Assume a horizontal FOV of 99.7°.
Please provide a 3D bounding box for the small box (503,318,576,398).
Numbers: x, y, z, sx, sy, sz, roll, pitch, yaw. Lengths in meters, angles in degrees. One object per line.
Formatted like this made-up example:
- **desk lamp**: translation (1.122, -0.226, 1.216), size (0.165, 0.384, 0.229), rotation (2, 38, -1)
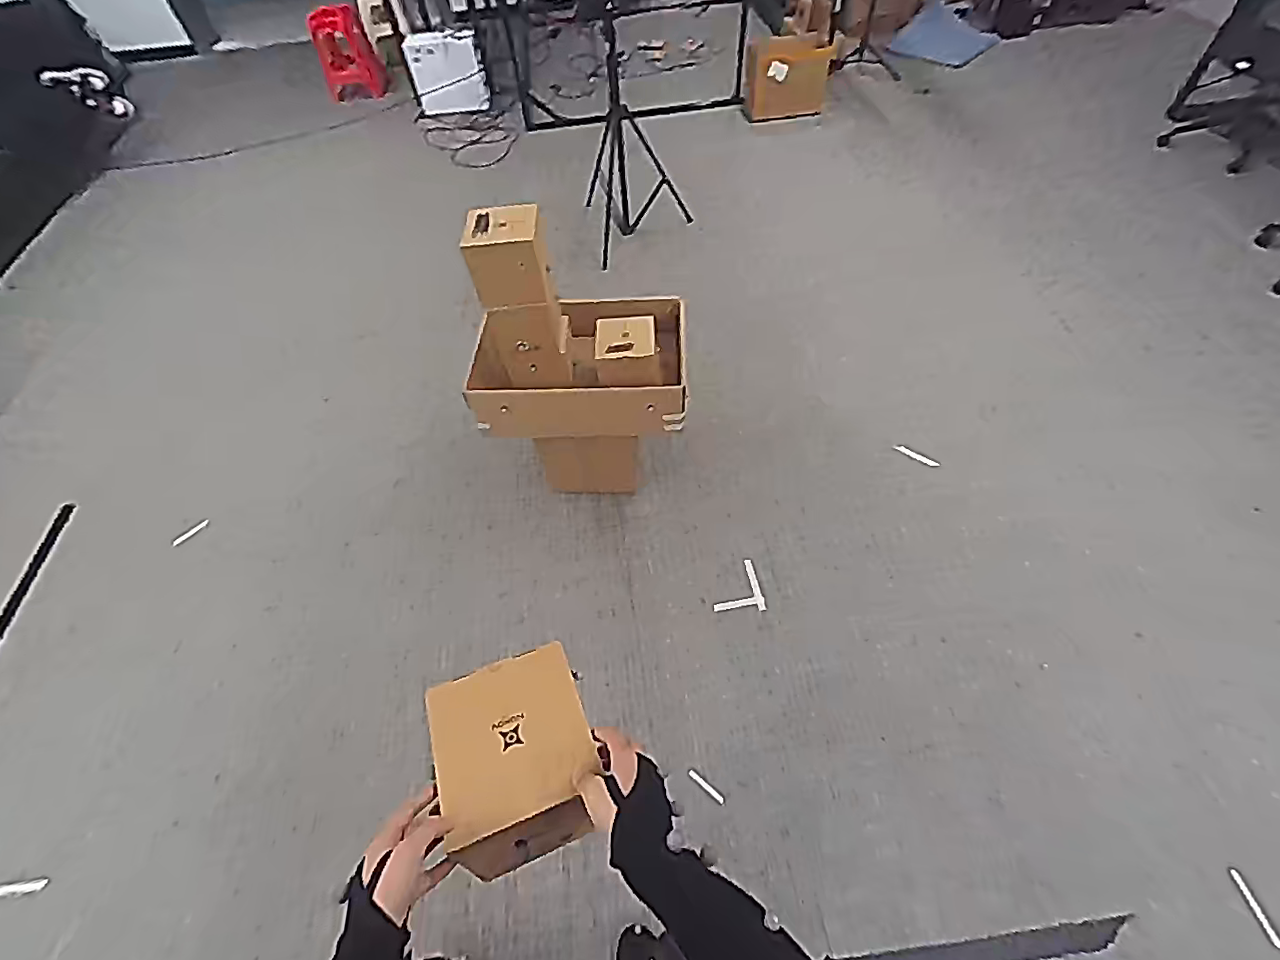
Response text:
- **small box**: translation (-0.292, -0.358, 1.608), size (0.179, 0.176, 0.168), rotation (-3, 55, 2)

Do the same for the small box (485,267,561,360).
- **small box**: translation (-0.312, -0.453, 1.476), size (0.168, 0.176, 0.179), rotation (-6, 54, 1)

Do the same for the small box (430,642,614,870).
- **small box**: translation (-0.135, 0.332, 0.645), size (0.168, 0.176, 0.179), rotation (-16, 46, -15)

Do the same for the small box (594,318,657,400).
- **small box**: translation (-0.038, -0.346, 1.581), size (0.168, 0.176, 0.179), rotation (-3, 54, 2)
